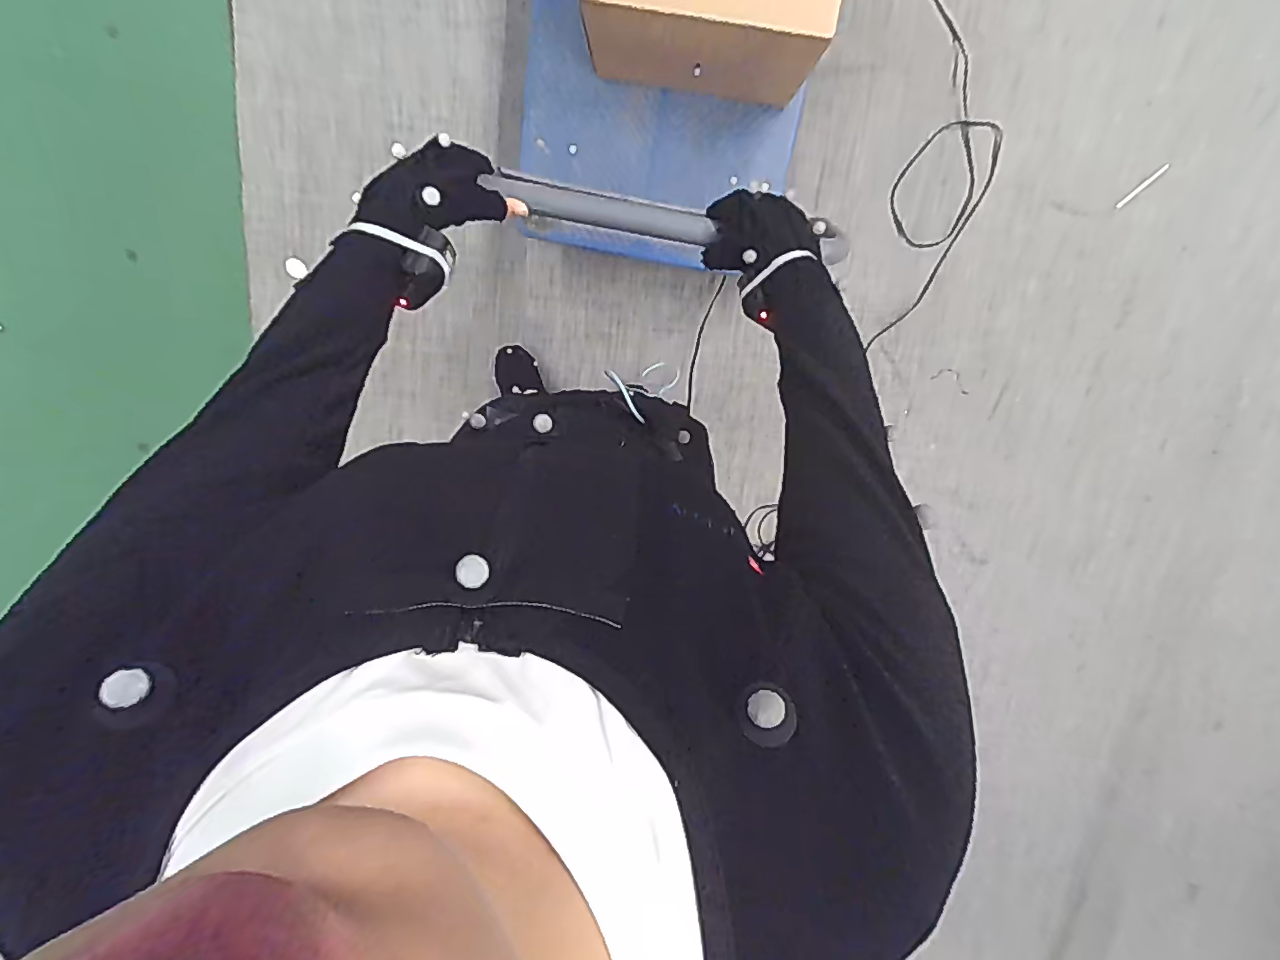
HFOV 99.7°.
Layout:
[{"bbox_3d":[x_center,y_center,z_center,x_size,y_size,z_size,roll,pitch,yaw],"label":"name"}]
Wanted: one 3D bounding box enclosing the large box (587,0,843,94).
[{"bbox_3d":[0.137,-0.919,0.940,0.408,0.320,0.320,8,108,0],"label":"large box"}]
